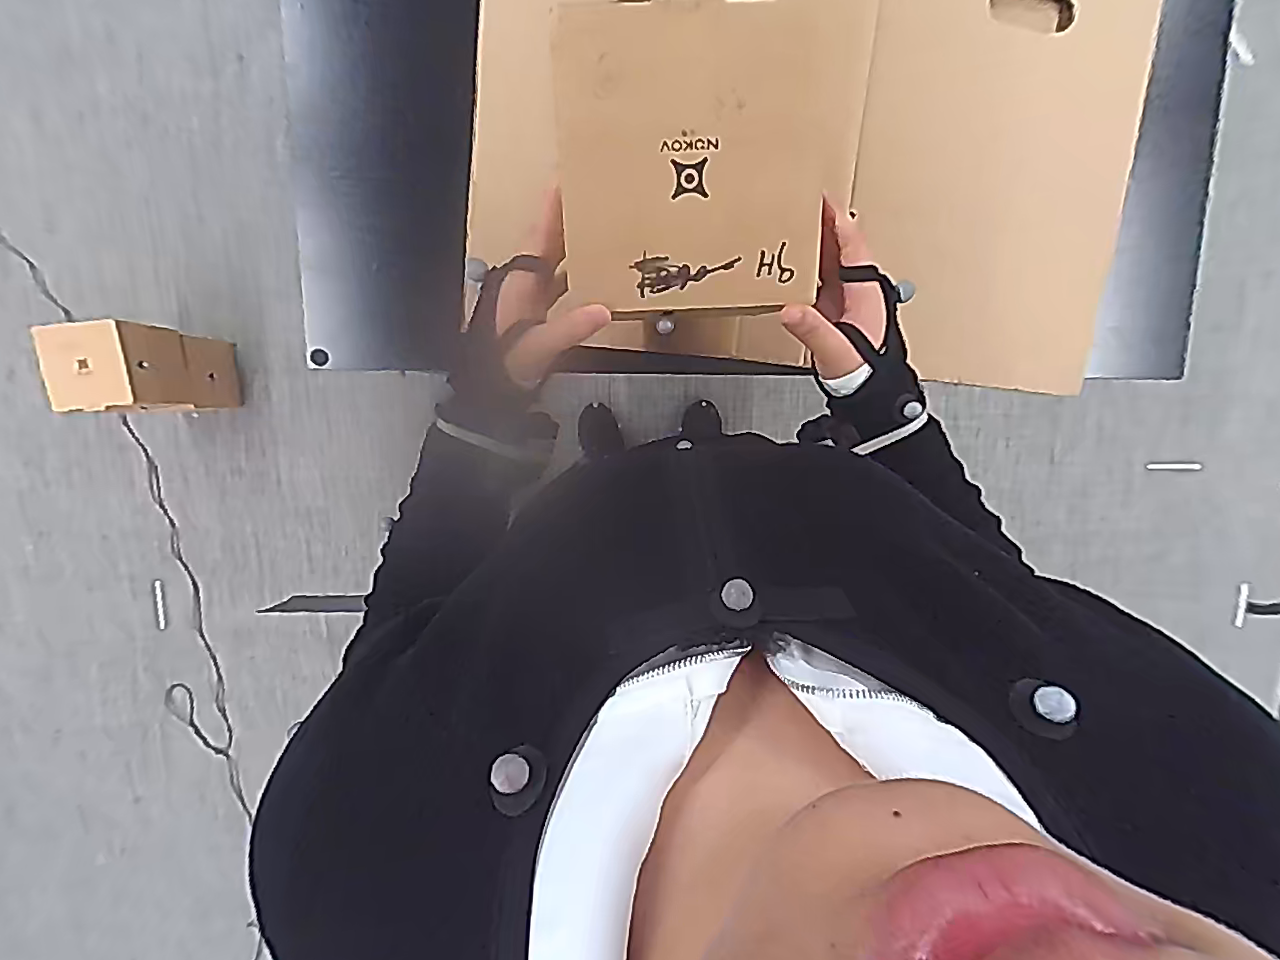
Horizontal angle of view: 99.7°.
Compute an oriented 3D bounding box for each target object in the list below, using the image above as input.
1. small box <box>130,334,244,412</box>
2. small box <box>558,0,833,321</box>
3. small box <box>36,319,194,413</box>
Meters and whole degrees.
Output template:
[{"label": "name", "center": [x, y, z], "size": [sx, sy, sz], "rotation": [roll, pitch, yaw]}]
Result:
[{"label": "small box", "center": [-1.131, -0.260, 1.341], "size": [0.168, 0.176, 0.179], "rotation": [-4, 99, -1]}, {"label": "small box", "center": [0.035, -0.218, 0.412], "size": [0.168, 0.176, 0.179], "rotation": [-2, 105, 2]}, {"label": "small box", "center": [-1.128, -0.243, 1.180], "size": [0.168, 0.176, 0.179], "rotation": [-7, 97, -2]}]
